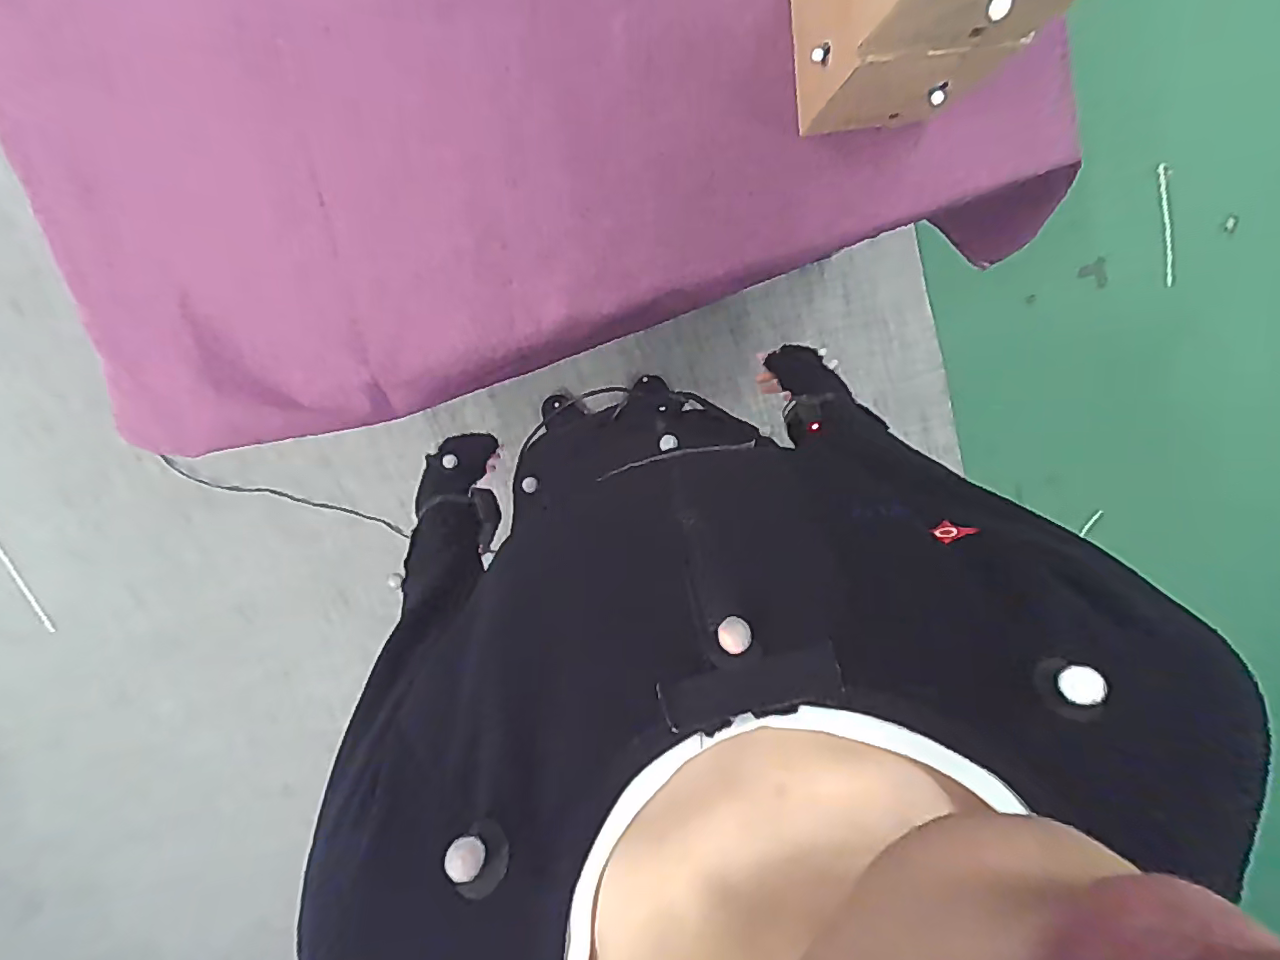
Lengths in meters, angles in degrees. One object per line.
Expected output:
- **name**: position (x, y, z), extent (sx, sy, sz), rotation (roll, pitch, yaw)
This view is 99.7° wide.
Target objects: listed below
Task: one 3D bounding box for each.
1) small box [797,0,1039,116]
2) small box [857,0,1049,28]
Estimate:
- **small box**: position (0.268, -0.499, 0.550), extent (0.168, 0.176, 0.179), rotation (-8, 103, -2)
- **small box**: position (0.269, -0.467, 0.389), extent (0.168, 0.176, 0.179), rotation (-8, 104, -3)
